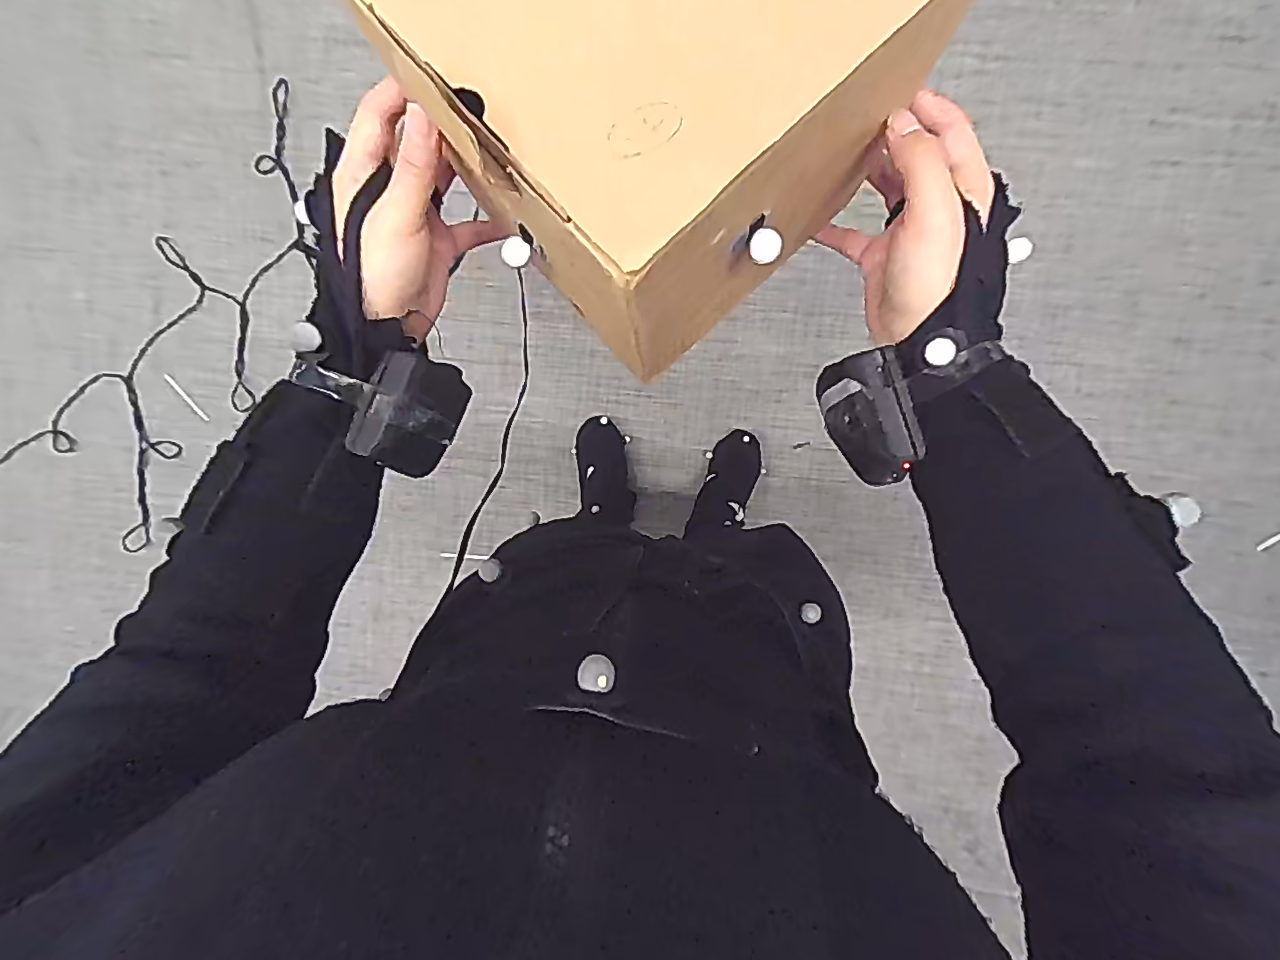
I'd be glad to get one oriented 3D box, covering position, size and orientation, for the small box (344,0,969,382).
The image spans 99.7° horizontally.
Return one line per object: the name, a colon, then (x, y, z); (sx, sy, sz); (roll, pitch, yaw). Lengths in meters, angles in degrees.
small box: (0.010, -0.173, 0.273); (0.179, 0.176, 0.168); (-42, 87, 2)
